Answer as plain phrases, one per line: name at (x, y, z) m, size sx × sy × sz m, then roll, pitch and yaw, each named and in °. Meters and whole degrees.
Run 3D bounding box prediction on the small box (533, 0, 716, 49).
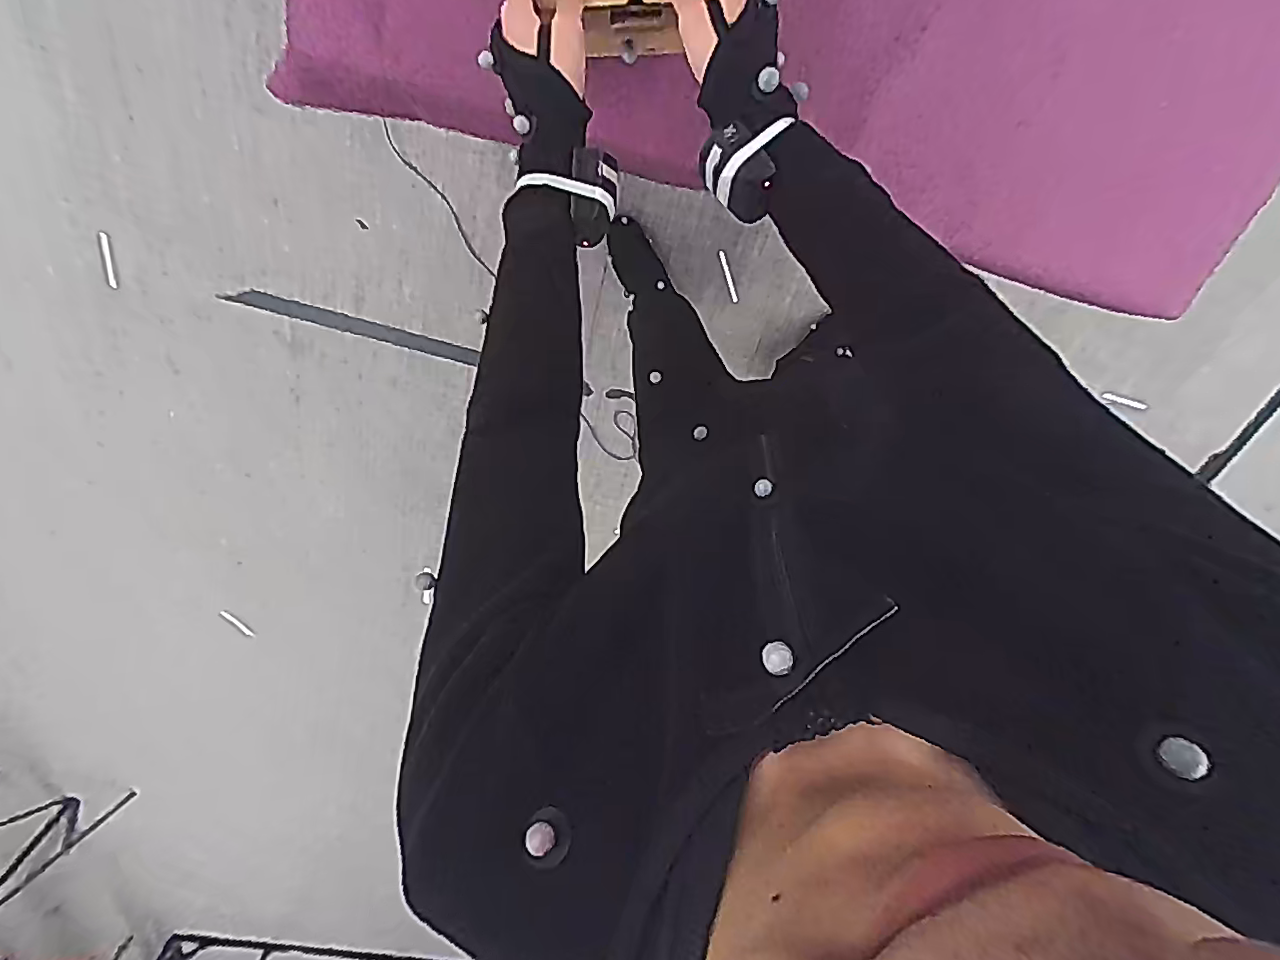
small box at (-0.022, -0.513, 0.478) m, size 0.168 × 0.176 × 0.179 m, roll -3°, pitch 117°, yaw -2°
